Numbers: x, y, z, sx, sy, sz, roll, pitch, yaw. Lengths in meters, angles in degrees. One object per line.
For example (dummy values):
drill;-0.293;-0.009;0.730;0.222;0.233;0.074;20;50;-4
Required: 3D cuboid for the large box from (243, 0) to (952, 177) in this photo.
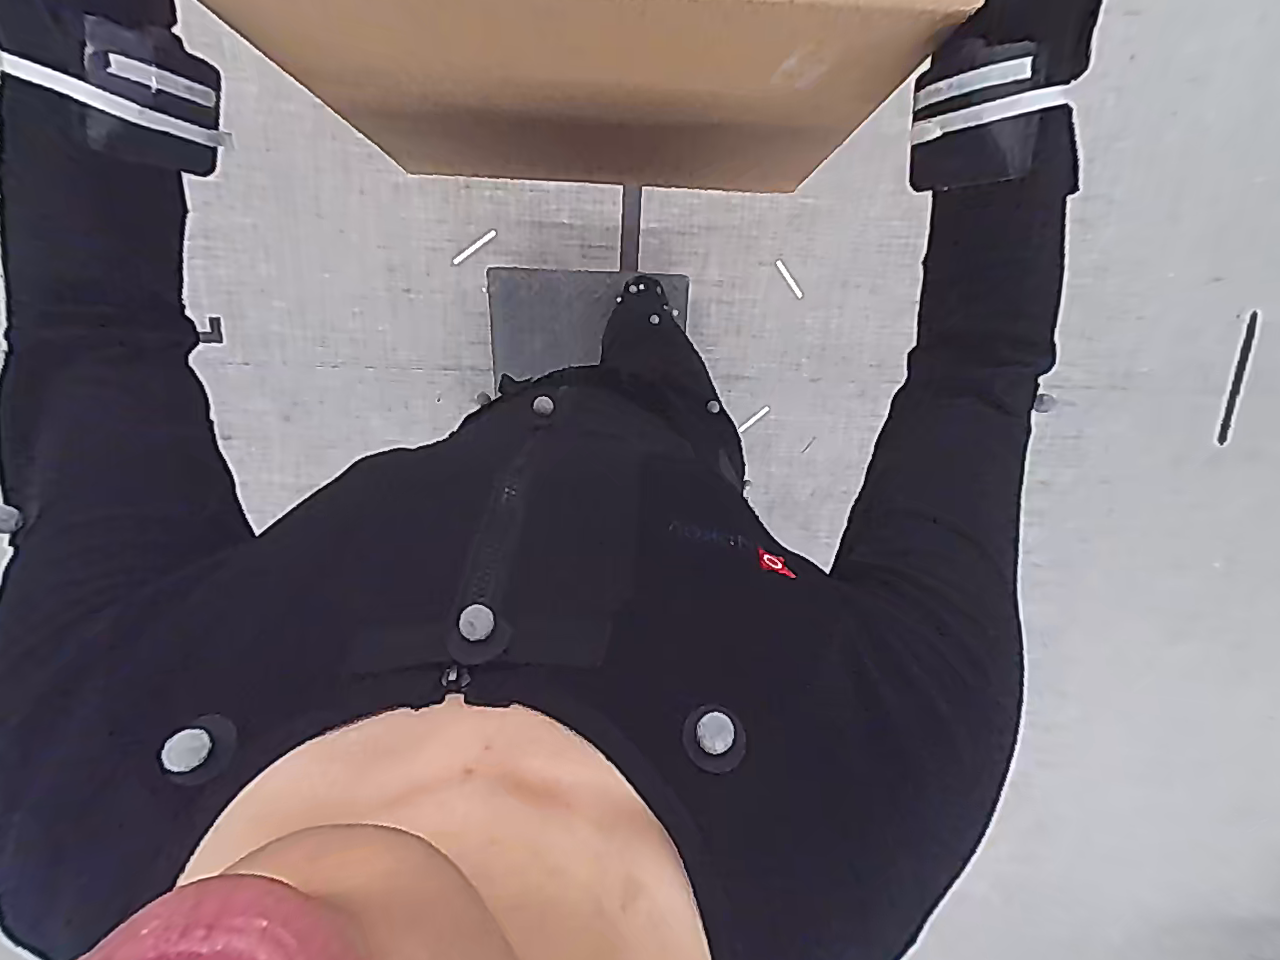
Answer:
large box;-0.029;-0.435;0.387;0.408;0.320;0.320;1;104;-2
